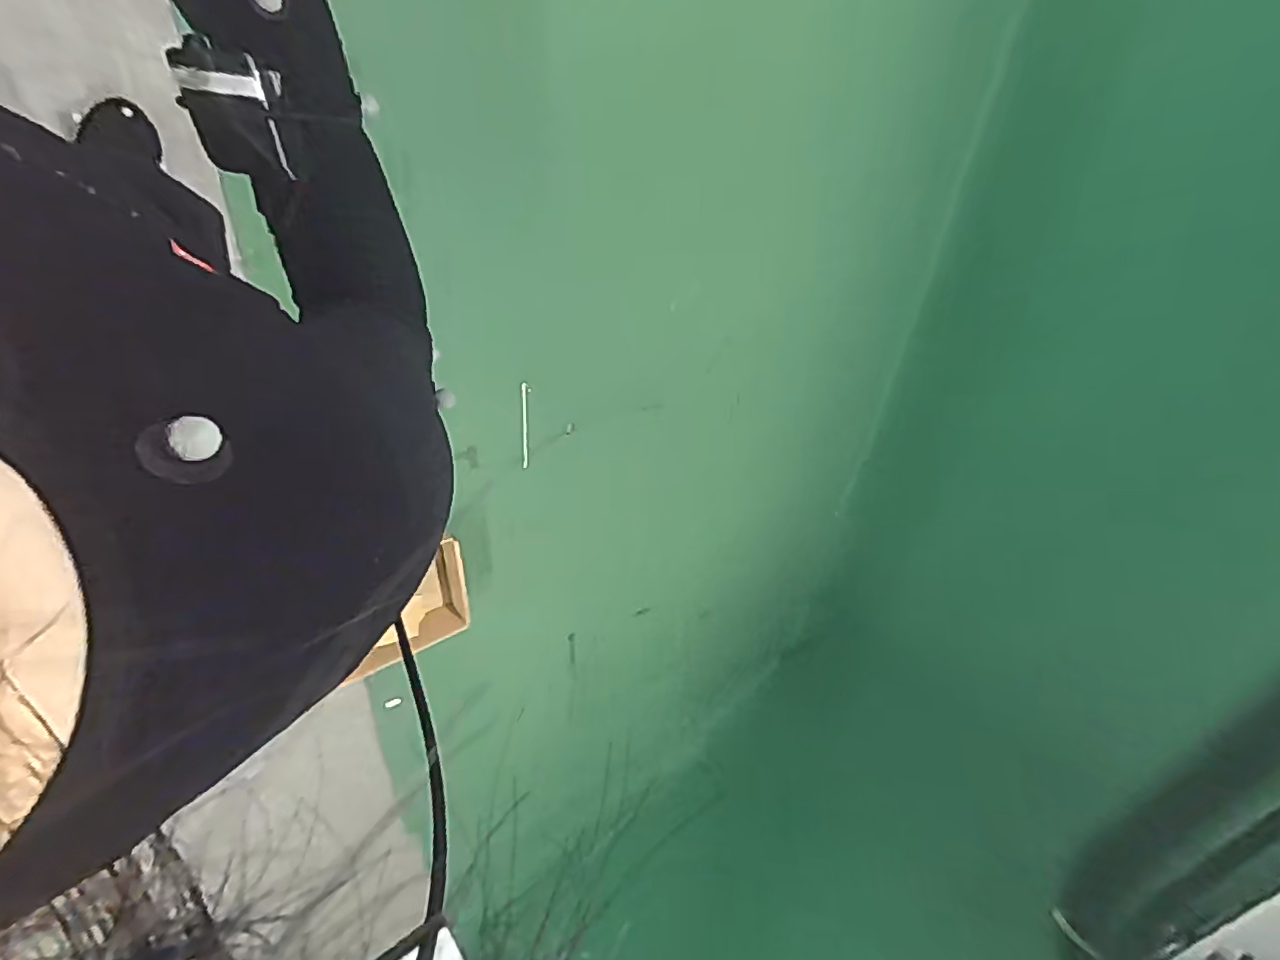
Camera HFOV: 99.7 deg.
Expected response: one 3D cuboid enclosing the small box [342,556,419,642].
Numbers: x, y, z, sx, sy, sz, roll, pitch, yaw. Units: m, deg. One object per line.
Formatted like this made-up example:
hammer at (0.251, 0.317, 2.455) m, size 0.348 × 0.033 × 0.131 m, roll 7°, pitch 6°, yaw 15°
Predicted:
small box at (-0.791, 0.354, 1.637) m, size 0.179 × 0.176 × 0.168 m, roll -7°, pitch 124°, yaw -40°
